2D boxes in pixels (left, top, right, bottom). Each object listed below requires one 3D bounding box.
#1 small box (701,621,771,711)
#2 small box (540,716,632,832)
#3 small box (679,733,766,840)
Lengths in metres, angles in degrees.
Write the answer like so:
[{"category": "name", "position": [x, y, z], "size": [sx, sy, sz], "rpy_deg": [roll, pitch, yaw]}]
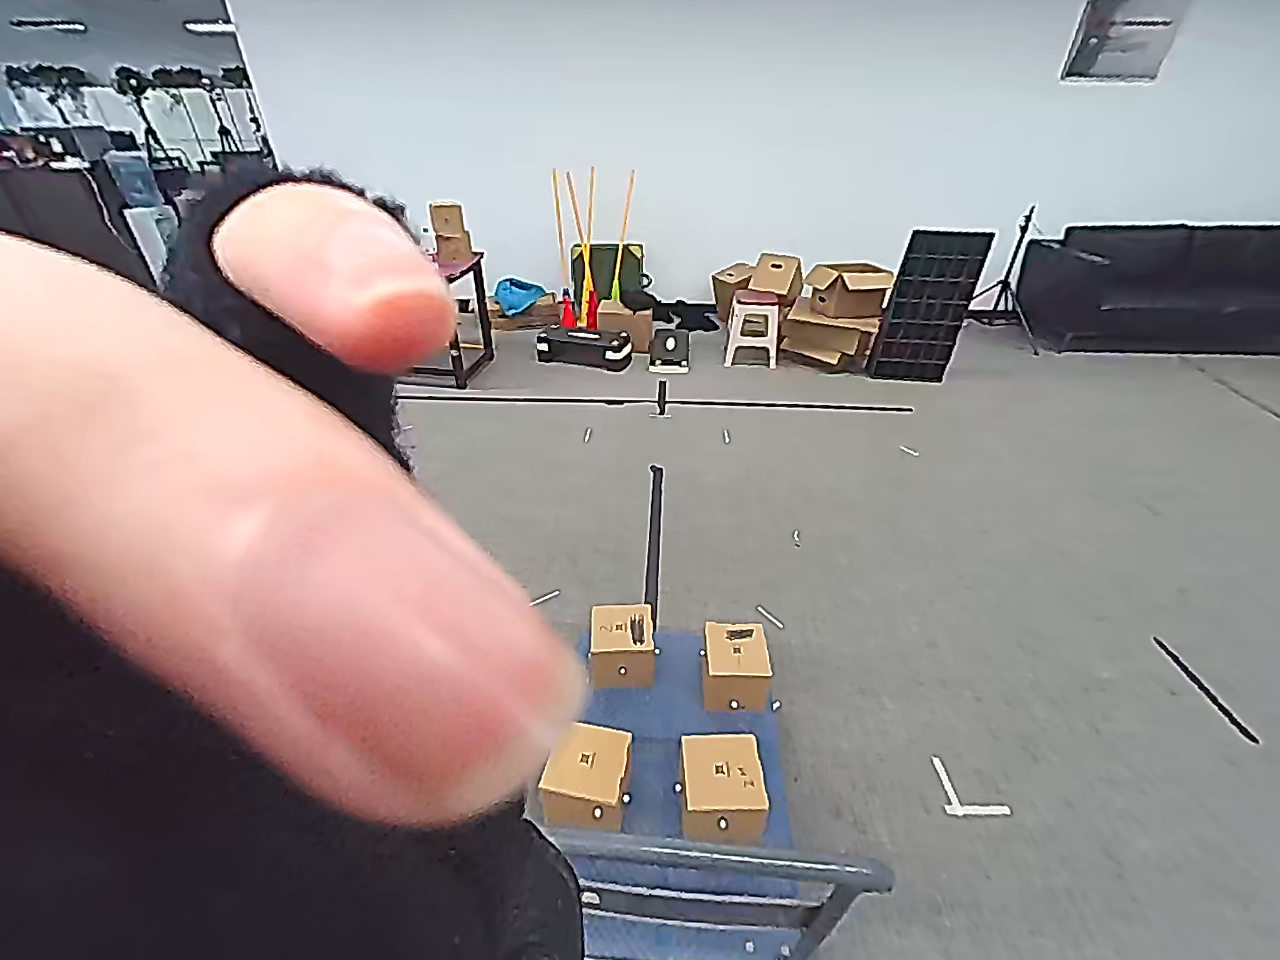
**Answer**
[{"category": "small box", "position": [0.263, 0.523, 1.524], "size": [0.168, 0.176, 0.179], "rpy_deg": [1, 35, 1]}, {"category": "small box", "position": [-0.121, 0.692, 1.270], "size": [0.179, 0.176, 0.168], "rpy_deg": [8, 34, 8]}, {"category": "small box", "position": [0.182, 0.710, 1.252], "size": [0.179, 0.176, 0.168], "rpy_deg": [0, 35, -1]}]
